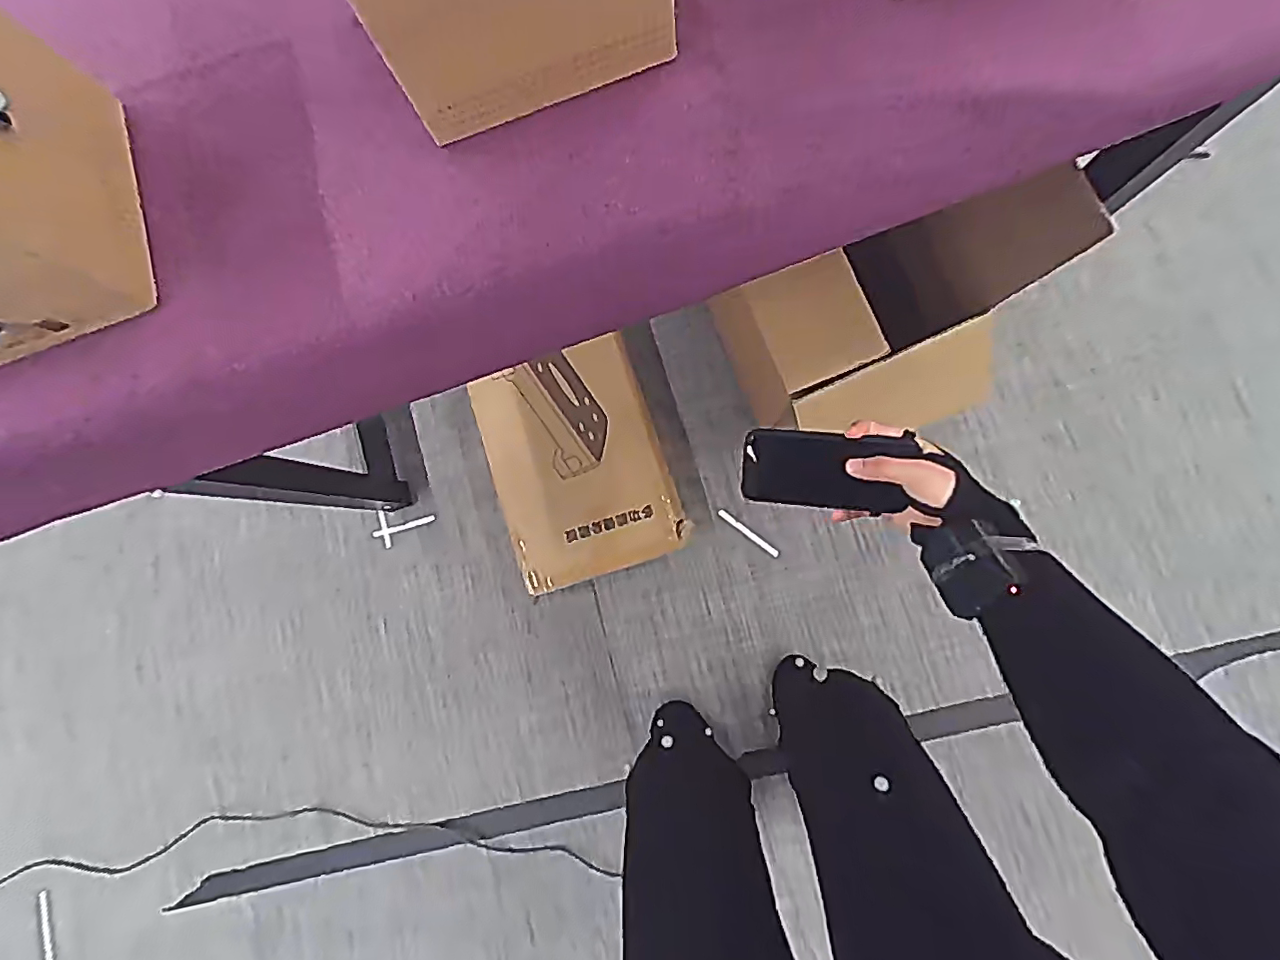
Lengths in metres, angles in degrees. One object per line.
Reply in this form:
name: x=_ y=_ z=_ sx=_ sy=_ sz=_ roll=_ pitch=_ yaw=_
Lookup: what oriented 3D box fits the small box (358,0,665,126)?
small box: x=-0.087 y=-0.348 z=0.297 sx=0.179 sy=0.176 sz=0.168 roll=-18 pitch=80 yaw=4
